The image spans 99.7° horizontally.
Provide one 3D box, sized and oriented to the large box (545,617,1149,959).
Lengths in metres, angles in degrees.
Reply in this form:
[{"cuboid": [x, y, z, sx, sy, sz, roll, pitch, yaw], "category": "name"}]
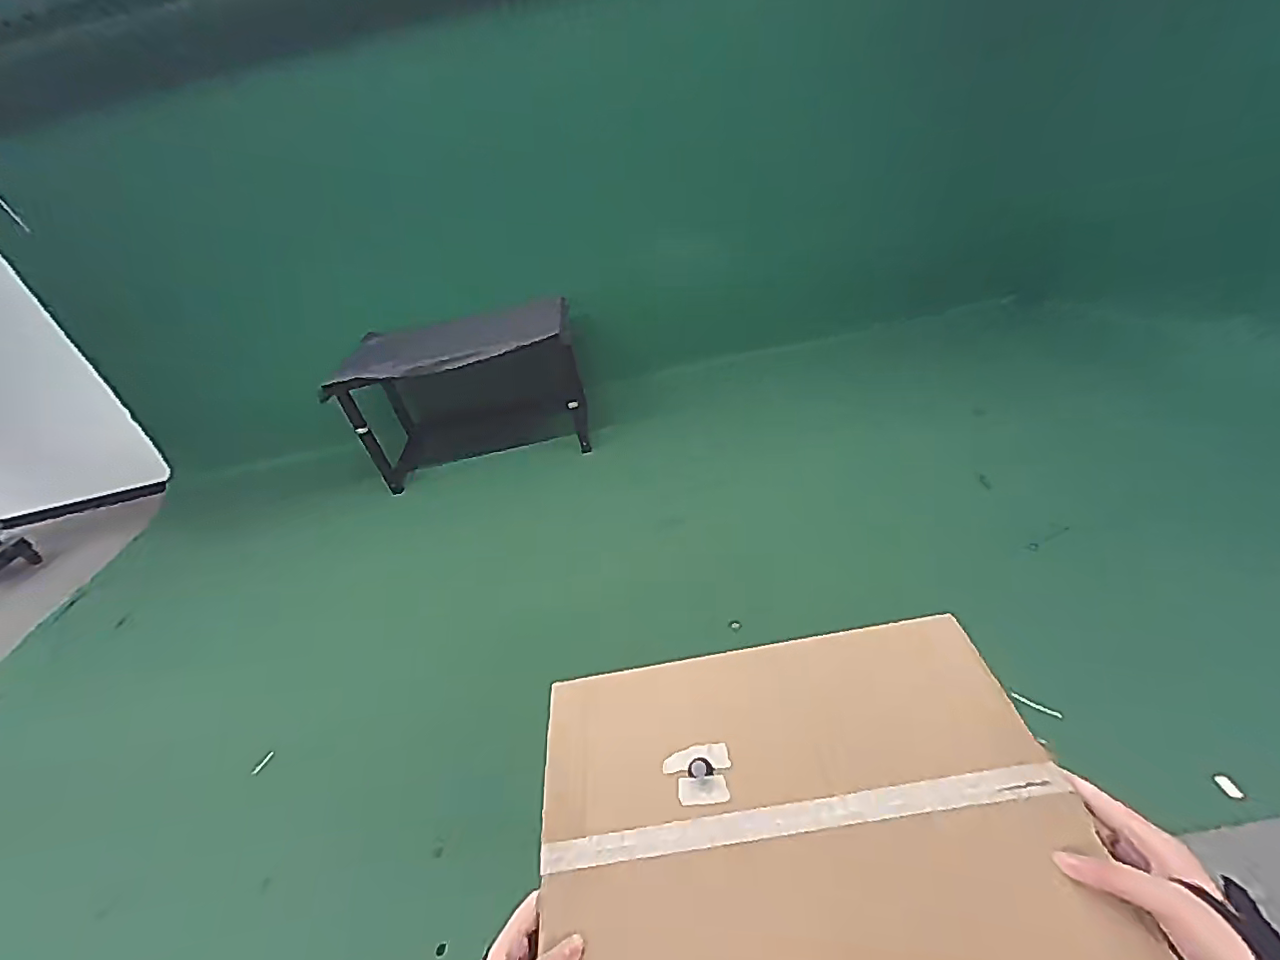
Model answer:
[{"cuboid": [0.151, 0.386, 0.530, 0.408, 0.320, 0.320, -13, 38, 5], "category": "large box"}]
